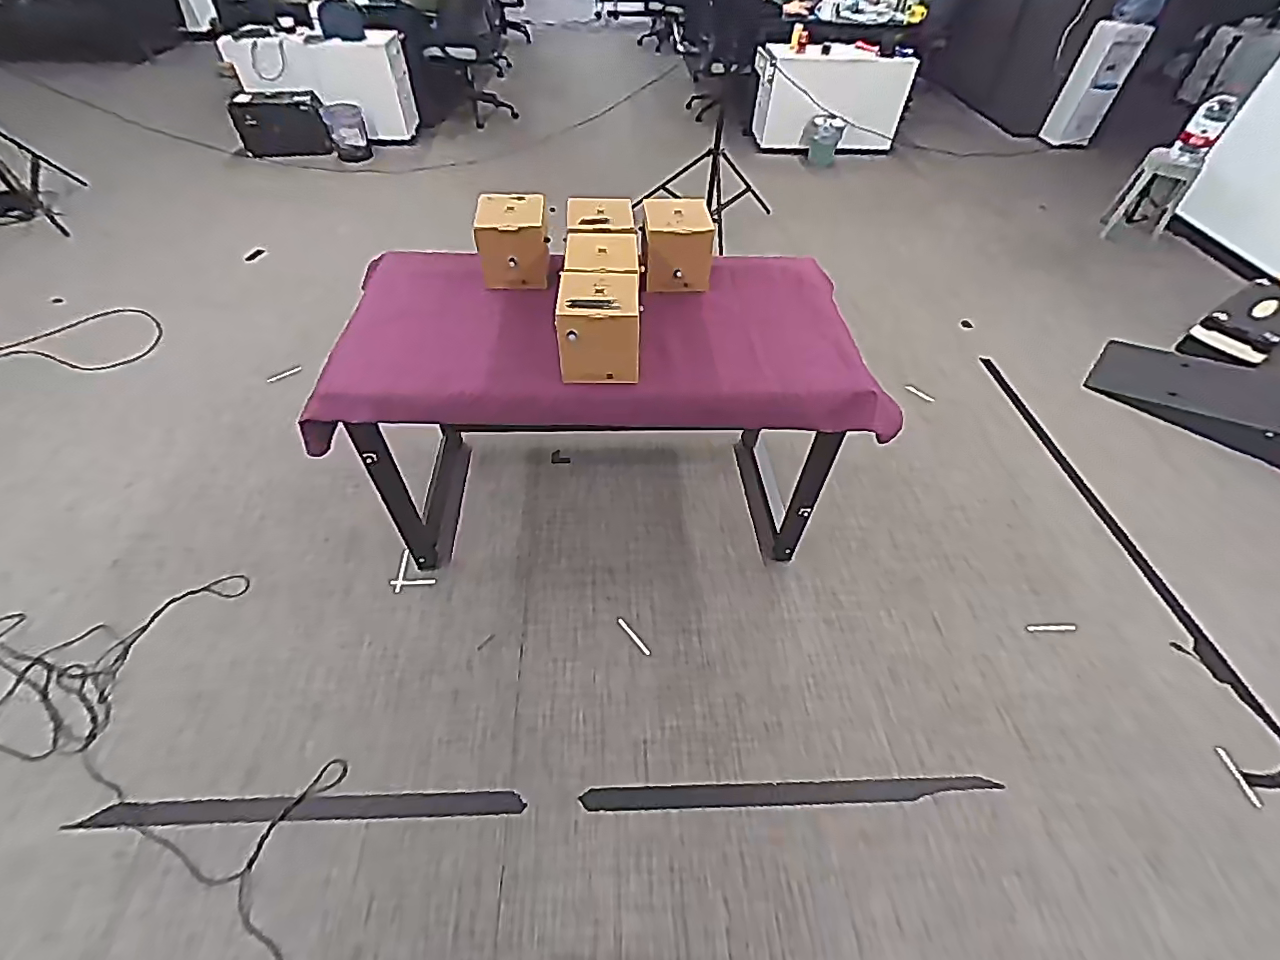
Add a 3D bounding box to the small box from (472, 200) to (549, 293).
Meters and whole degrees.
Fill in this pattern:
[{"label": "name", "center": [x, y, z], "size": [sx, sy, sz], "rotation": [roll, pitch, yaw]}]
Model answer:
[{"label": "small box", "center": [-0.328, -0.606, 1.410], "size": [0.168, 0.176, 0.179], "rotation": [-2, 52, -4]}]
